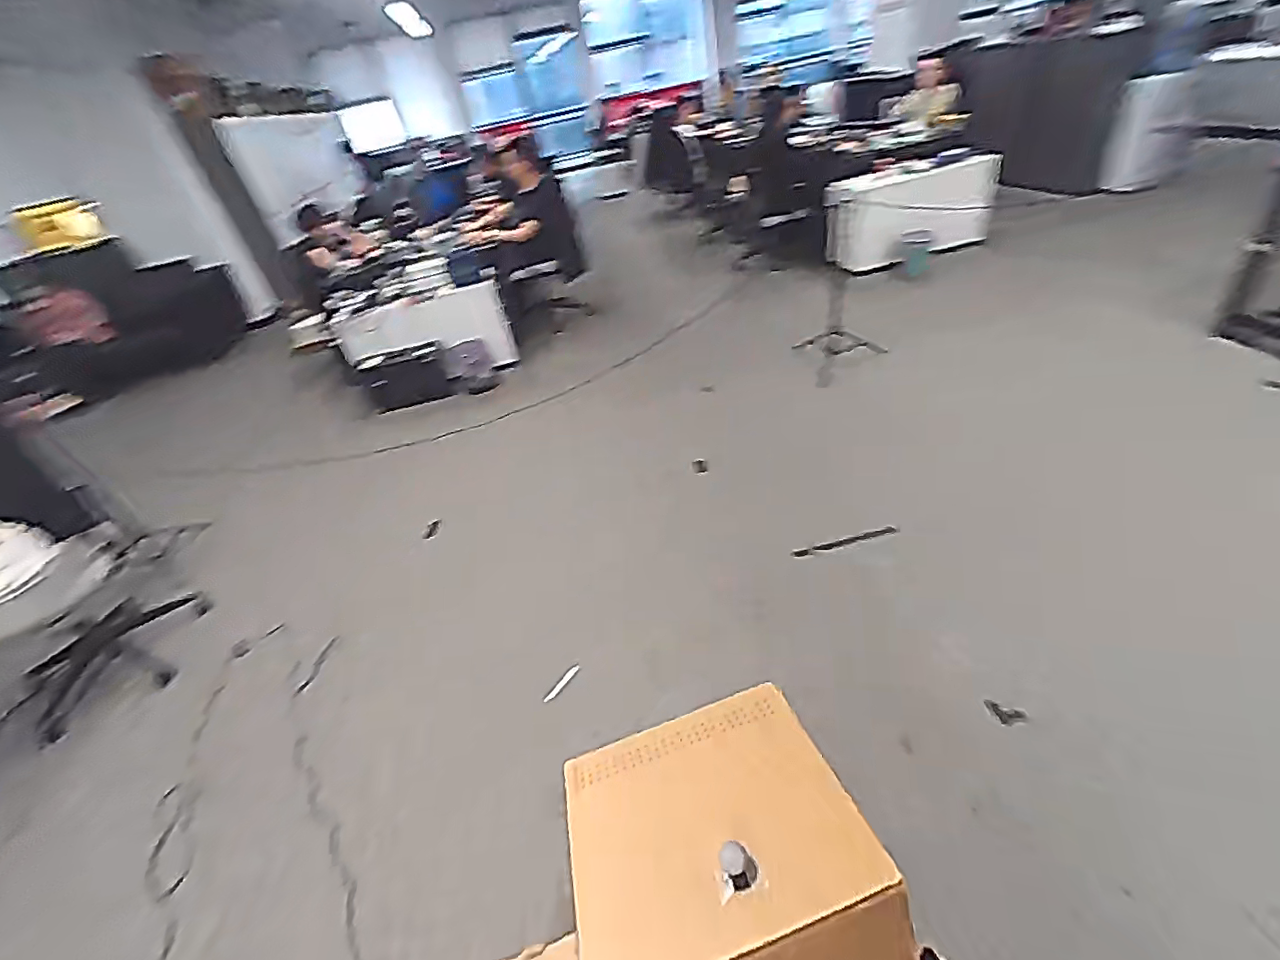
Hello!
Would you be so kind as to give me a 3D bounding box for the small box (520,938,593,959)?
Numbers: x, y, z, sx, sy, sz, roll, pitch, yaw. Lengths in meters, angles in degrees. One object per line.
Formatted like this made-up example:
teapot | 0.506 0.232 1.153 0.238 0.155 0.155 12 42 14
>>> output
small box | -0.150 0.955 0.942 0.168 0.176 0.179 -18 36 -6
